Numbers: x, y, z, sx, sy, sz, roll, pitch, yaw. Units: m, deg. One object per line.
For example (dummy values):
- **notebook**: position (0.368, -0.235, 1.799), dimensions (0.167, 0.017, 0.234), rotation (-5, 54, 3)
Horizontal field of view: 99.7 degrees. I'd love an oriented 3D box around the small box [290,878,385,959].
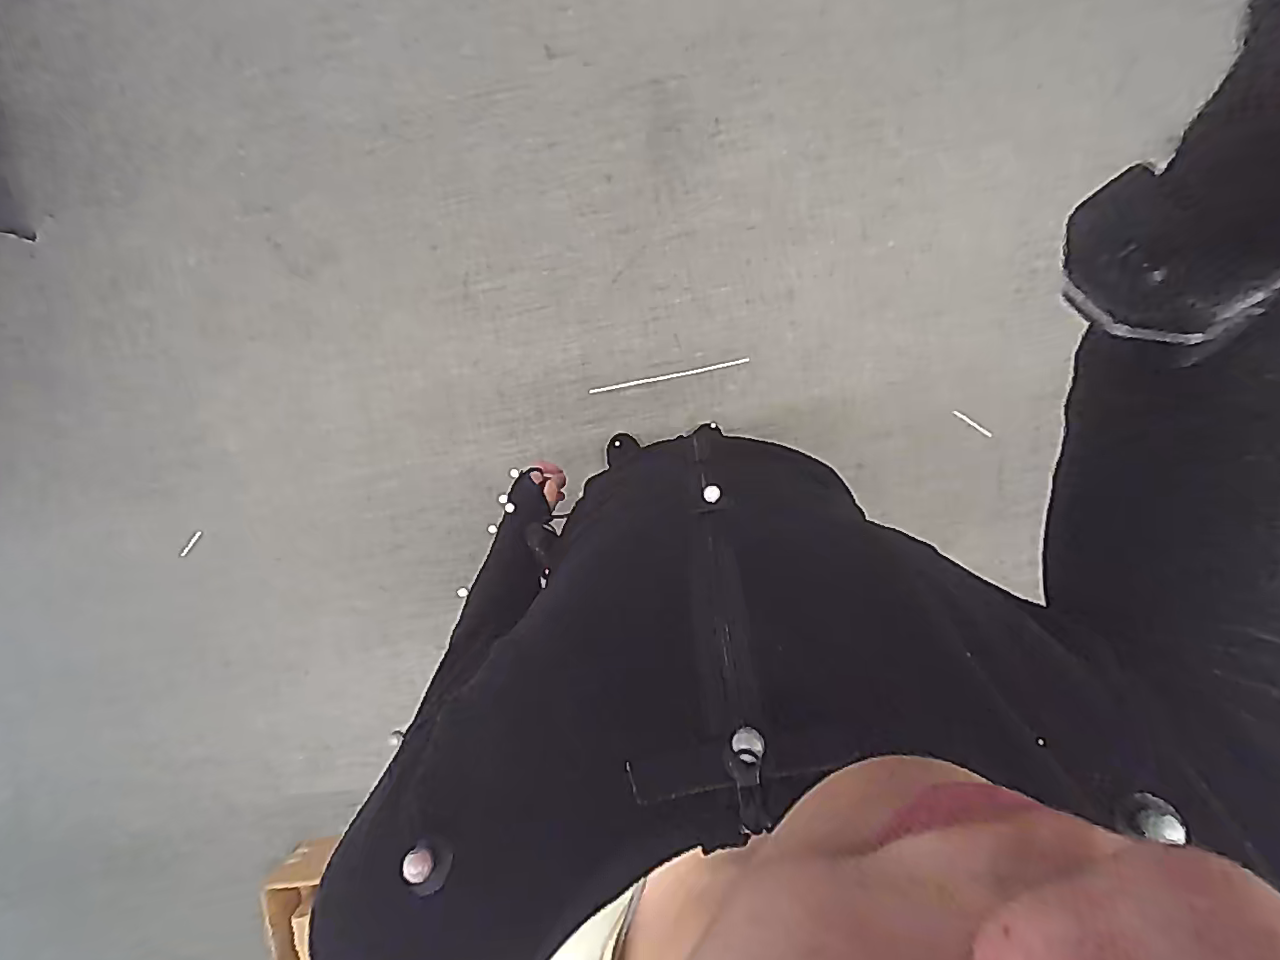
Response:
- **small box**: position (-0.893, 1.332, 1.610), dimensions (0.179, 0.176, 0.168), rotation (-7, 96, 1)
